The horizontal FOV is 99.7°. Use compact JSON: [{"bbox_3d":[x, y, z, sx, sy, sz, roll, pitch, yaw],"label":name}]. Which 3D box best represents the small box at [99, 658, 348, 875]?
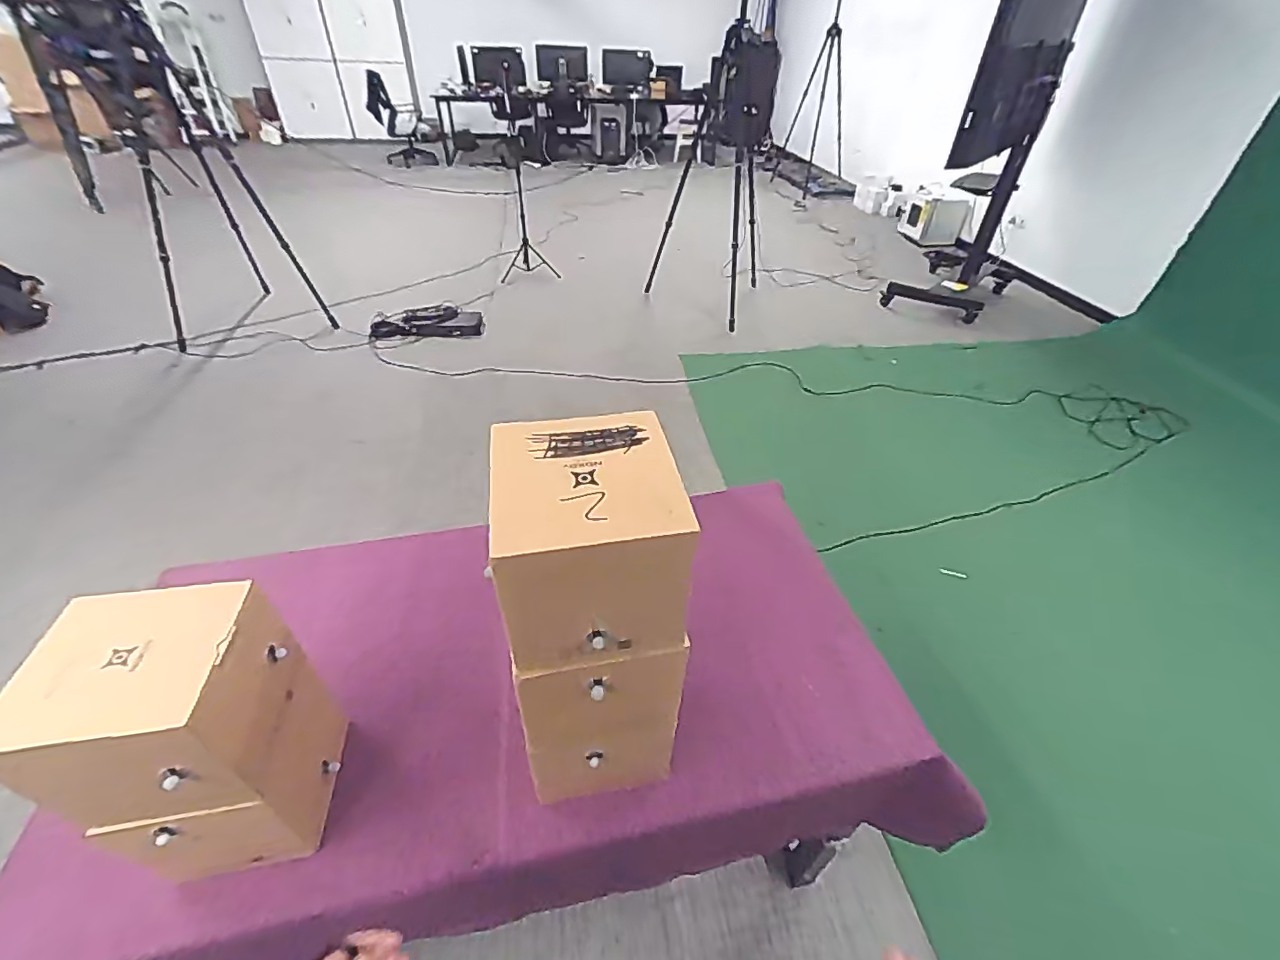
[{"bbox_3d":[-0.487,0.353,0.674,0.168,0.176,0.179,-6,40,-8],"label":"small box"}]

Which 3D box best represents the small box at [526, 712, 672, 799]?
[{"bbox_3d":[-0.060,0.310,0.740,0.179,0.176,0.168,-5,42,-9],"label":"small box"}]

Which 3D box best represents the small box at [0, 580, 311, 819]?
[{"bbox_3d":[-0.483,0.228,0.568,0.179,0.176,0.168,-5,41,-7],"label":"small box"}]

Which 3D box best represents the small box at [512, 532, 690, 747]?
[{"bbox_3d":[-0.051,0.186,0.634,0.179,0.176,0.168,-7,42,-9],"label":"small box"}]
